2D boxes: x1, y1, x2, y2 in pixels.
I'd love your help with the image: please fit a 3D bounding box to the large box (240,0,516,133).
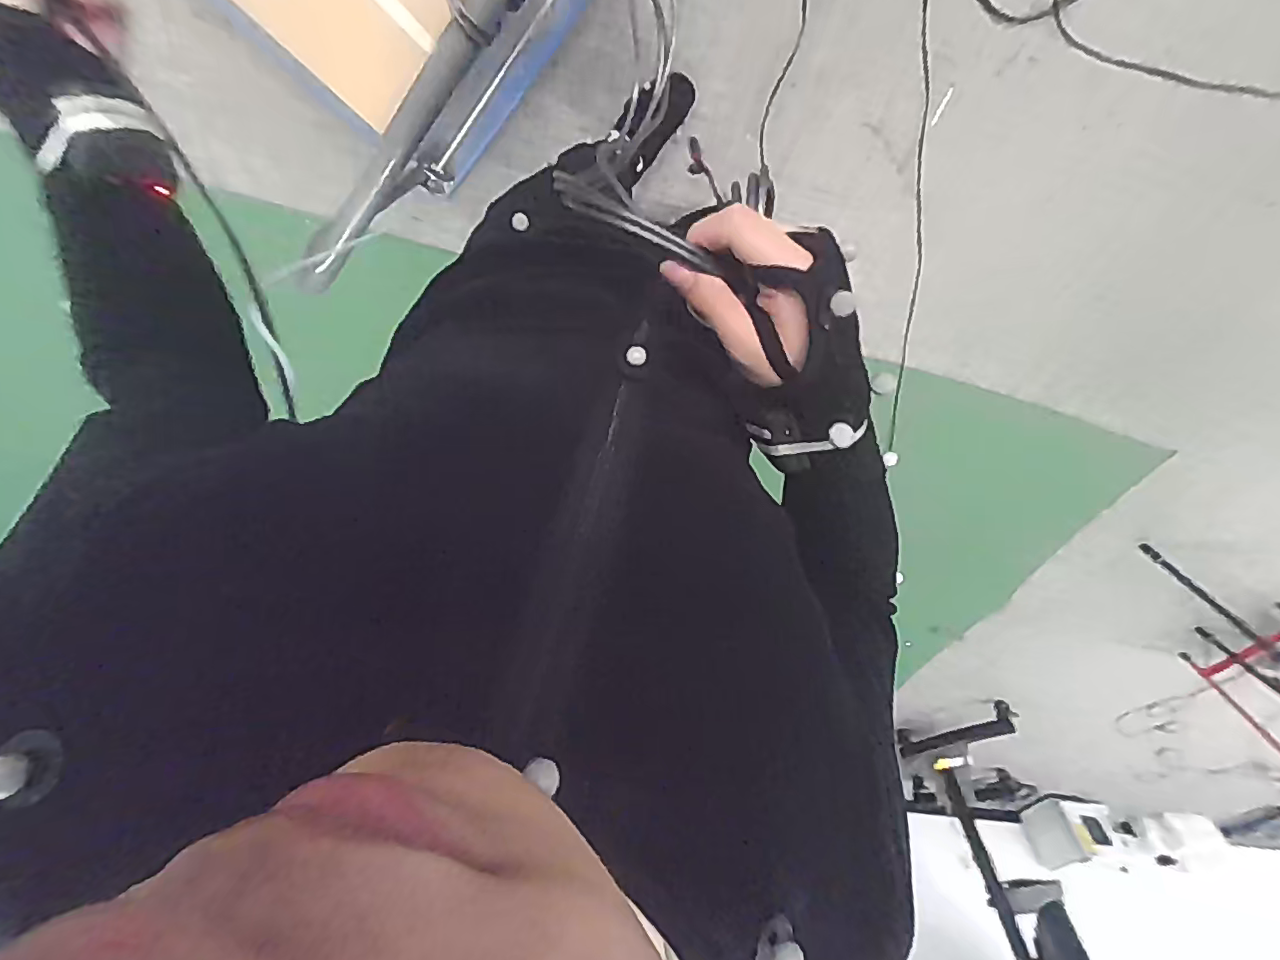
[{"bbox_3d":[-0.423,-0.827,0.810,0.320,0.320,0.408,-37,120,27],"label":"large box"}]
